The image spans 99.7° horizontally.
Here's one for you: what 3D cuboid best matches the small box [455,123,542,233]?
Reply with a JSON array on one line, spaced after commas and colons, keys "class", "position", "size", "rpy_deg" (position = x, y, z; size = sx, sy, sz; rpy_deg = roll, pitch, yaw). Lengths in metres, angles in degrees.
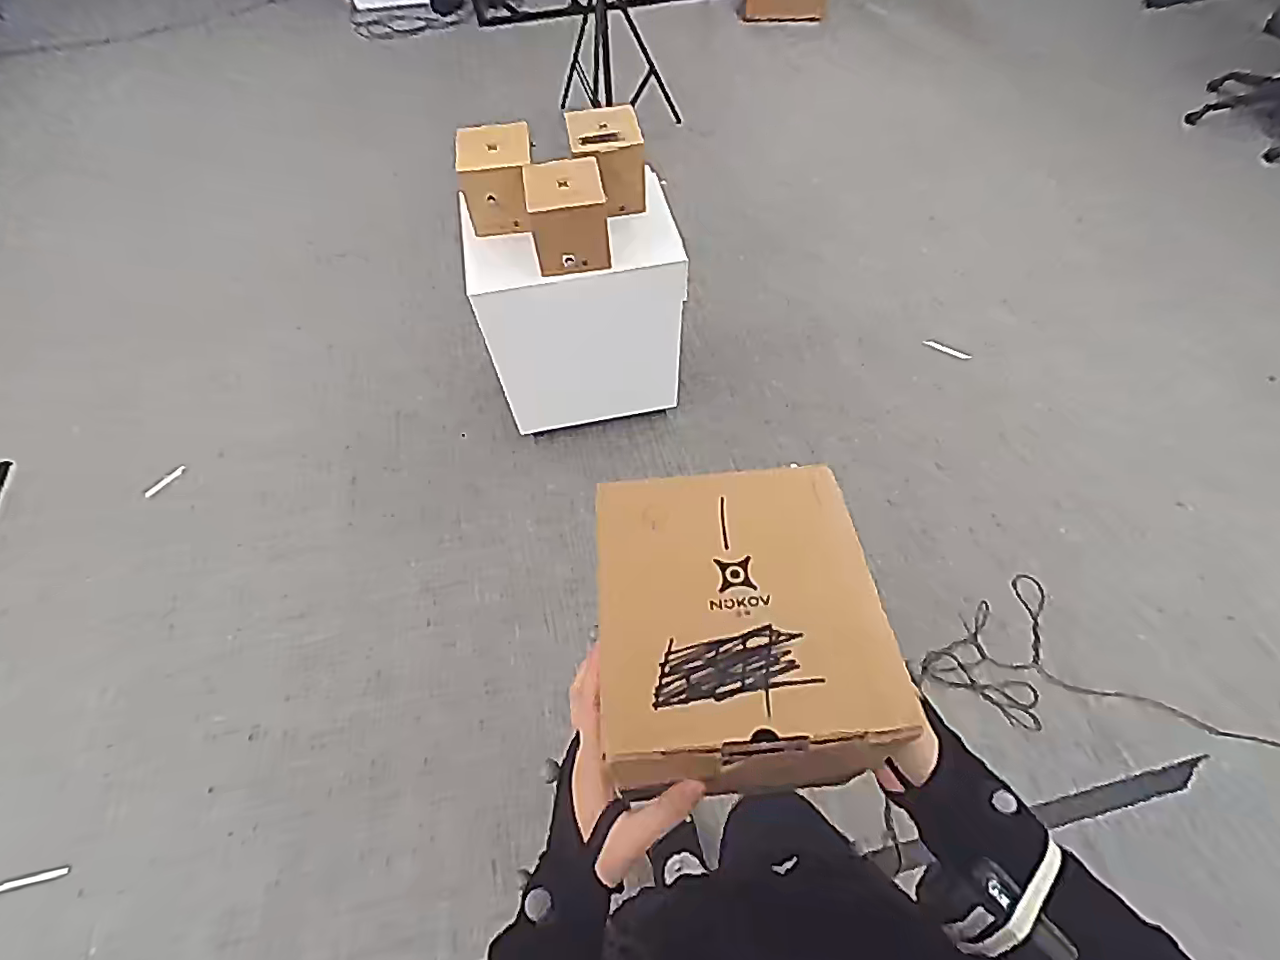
[{"class": "small box", "position": [-0.331, -0.711, 1.290], "size": [0.168, 0.176, 0.179], "rpy_deg": [-8, 60, -4]}]
